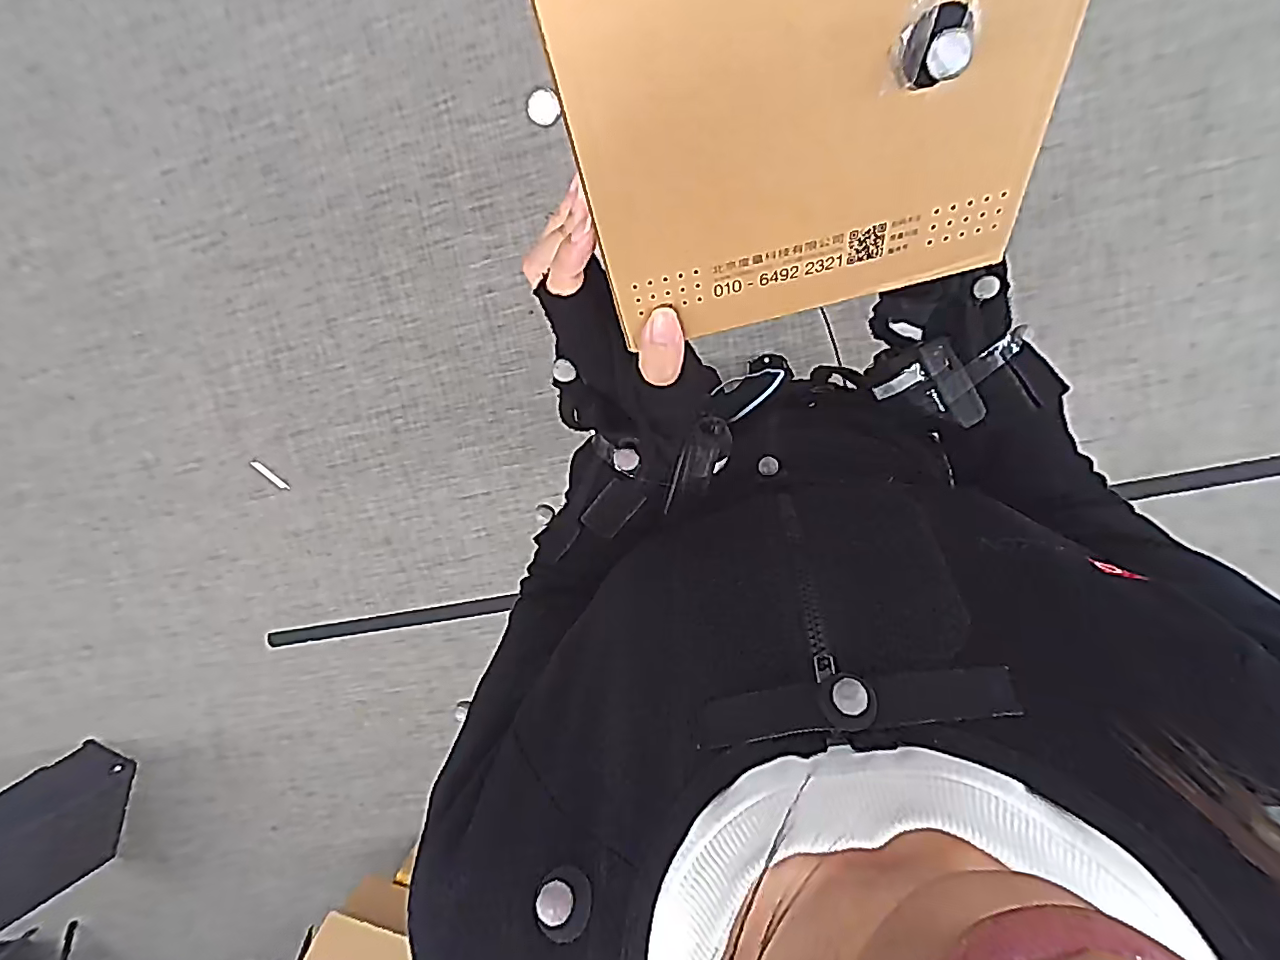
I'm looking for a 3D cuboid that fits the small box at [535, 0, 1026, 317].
[{"bbox_3d":[0.051,-0.196,0.250,0.168,0.179,0.176,-12,140,5],"label":"small box"}]
